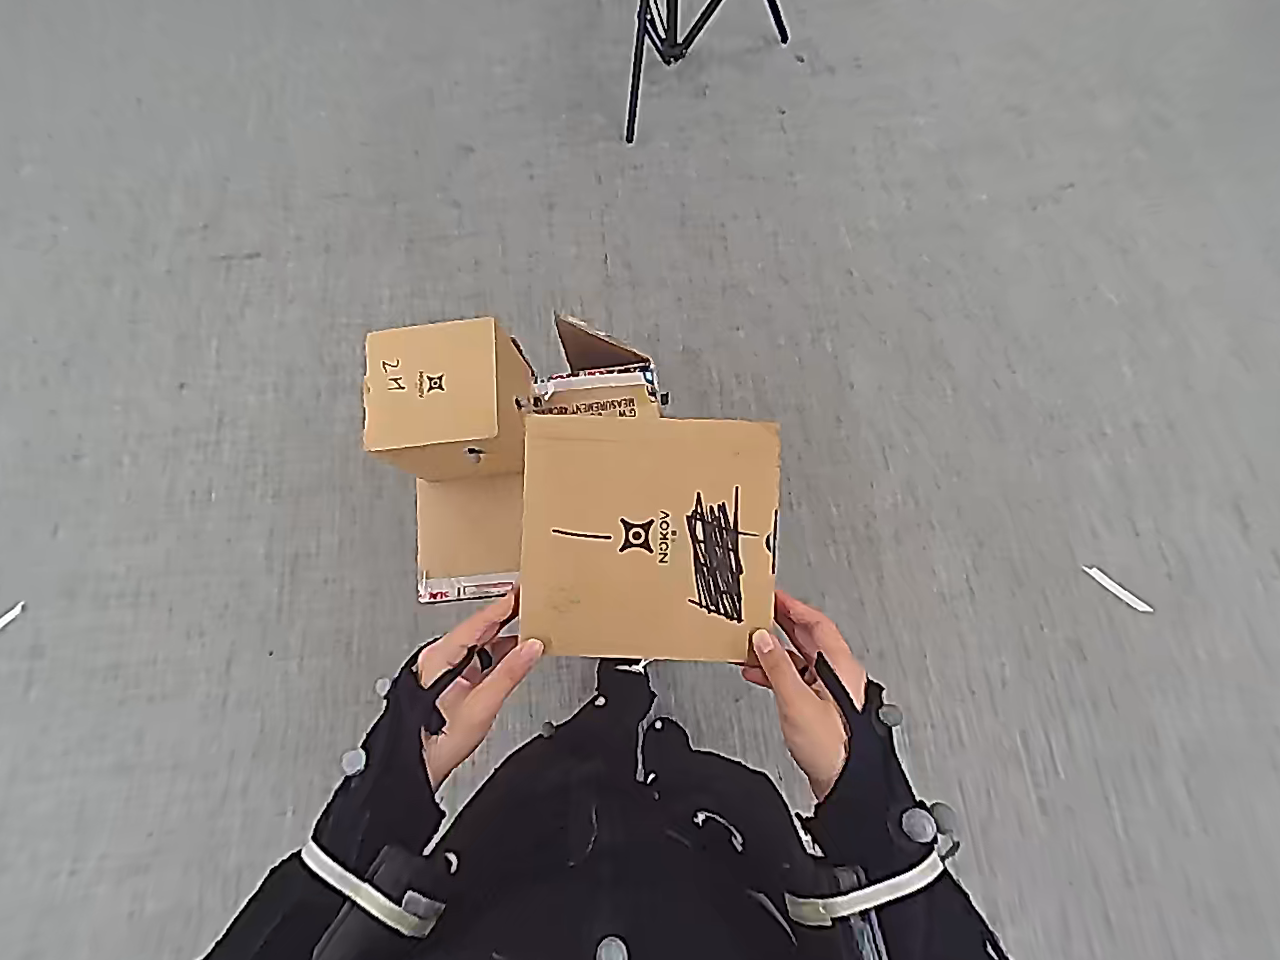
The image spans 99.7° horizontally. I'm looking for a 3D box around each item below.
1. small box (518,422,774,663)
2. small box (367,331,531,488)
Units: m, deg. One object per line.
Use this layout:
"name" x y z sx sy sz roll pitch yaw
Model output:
"small box" 0.005 0.045 0.456 0.179 0.176 0.168 1 88 1
"small box" -0.257 -0.091 0.768 0.179 0.176 0.168 -6 76 4
